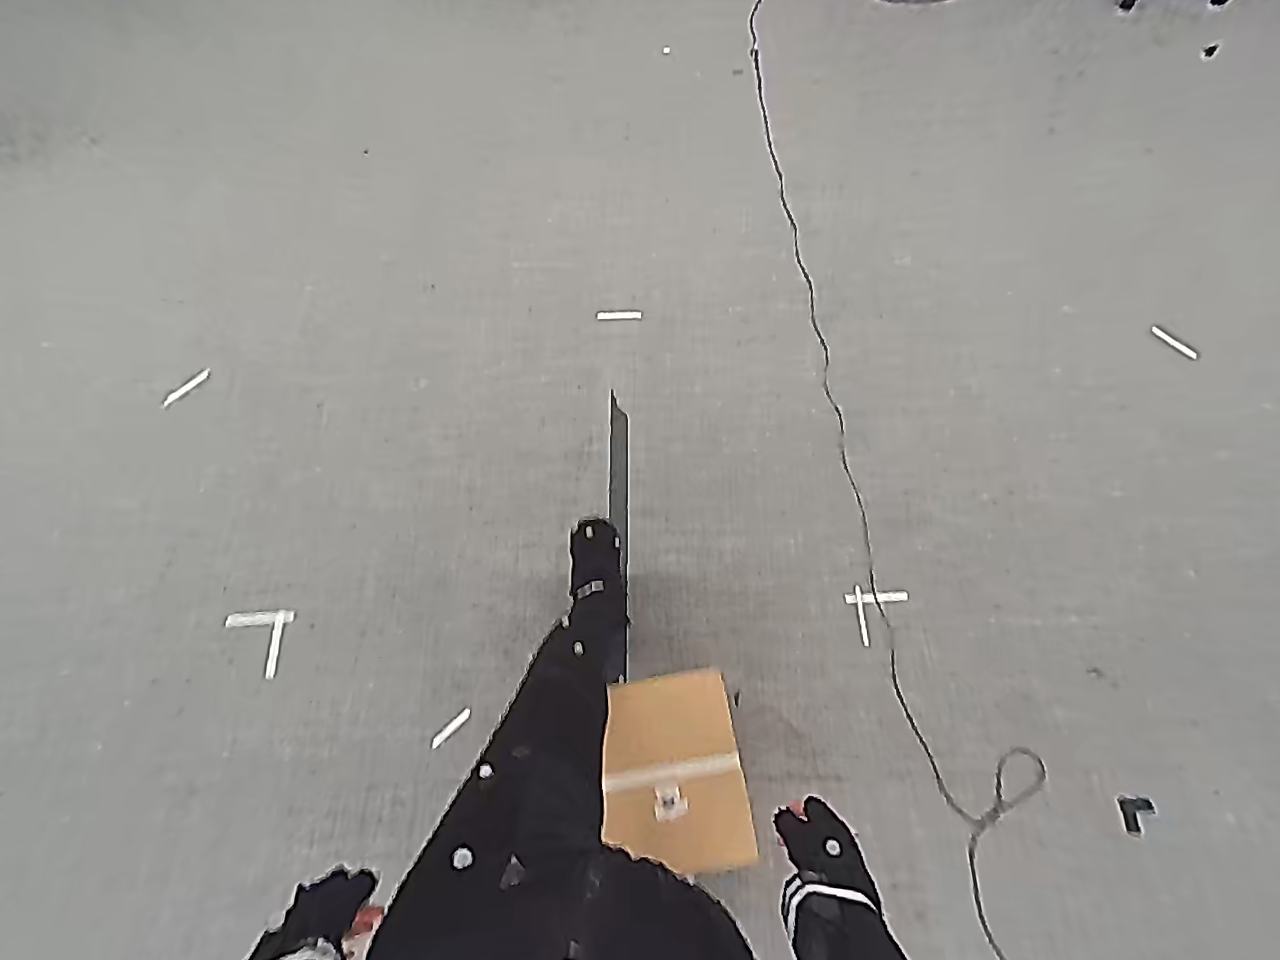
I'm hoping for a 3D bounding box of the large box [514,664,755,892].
[{"bbox_3d":[-0.017,0.580,1.108,0.408,0.320,0.320,-8,69,-2],"label":"large box"}]
